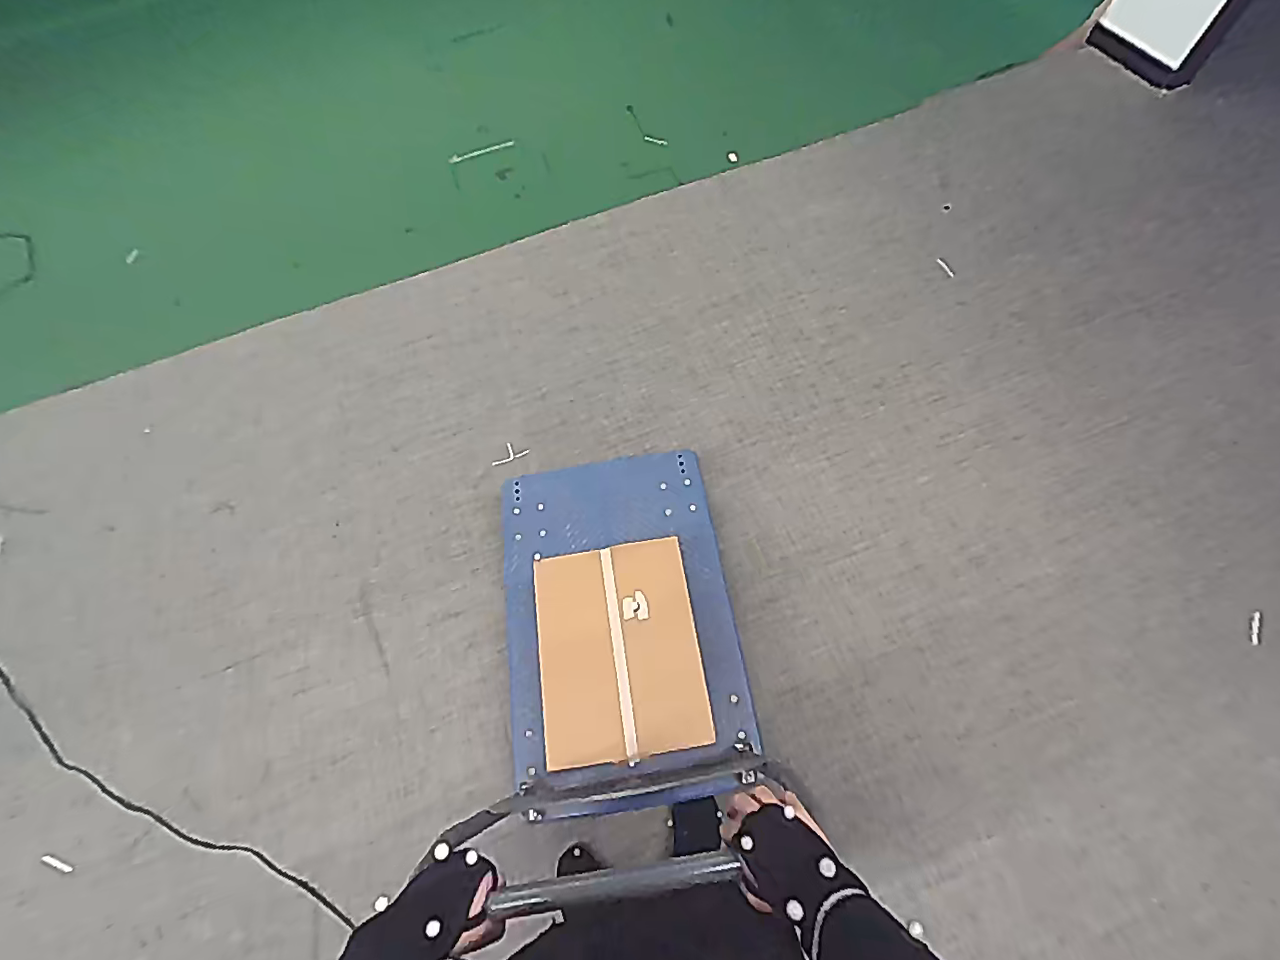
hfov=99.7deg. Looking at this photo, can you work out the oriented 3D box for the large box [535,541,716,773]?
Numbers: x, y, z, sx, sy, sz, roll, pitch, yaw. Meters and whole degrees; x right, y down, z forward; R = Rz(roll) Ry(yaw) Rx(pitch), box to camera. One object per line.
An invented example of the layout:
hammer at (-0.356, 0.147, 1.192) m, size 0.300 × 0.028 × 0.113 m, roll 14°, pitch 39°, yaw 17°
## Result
large box at (-0.031, 0.396, 1.195) m, size 0.320 × 0.320 × 0.408 m, roll -9°, pitch 63°, yaw 0°
